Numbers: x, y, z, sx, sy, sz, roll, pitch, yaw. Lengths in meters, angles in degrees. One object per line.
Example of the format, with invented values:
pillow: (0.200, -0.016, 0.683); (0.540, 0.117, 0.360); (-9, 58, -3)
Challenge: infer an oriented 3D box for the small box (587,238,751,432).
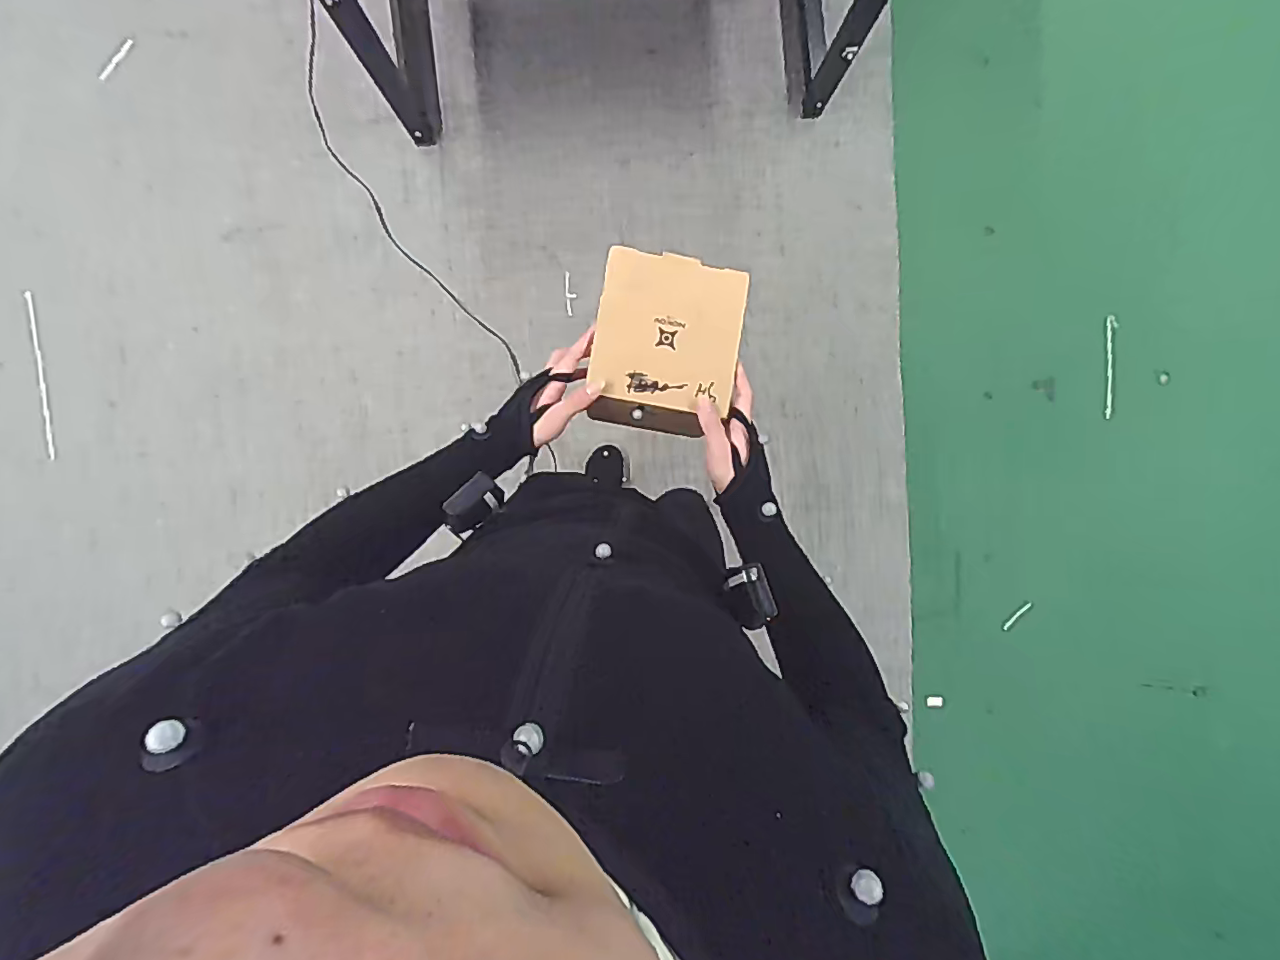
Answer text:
small box: (0.027, -0.170, 0.688); (0.168, 0.176, 0.179); (10, 86, -4)
